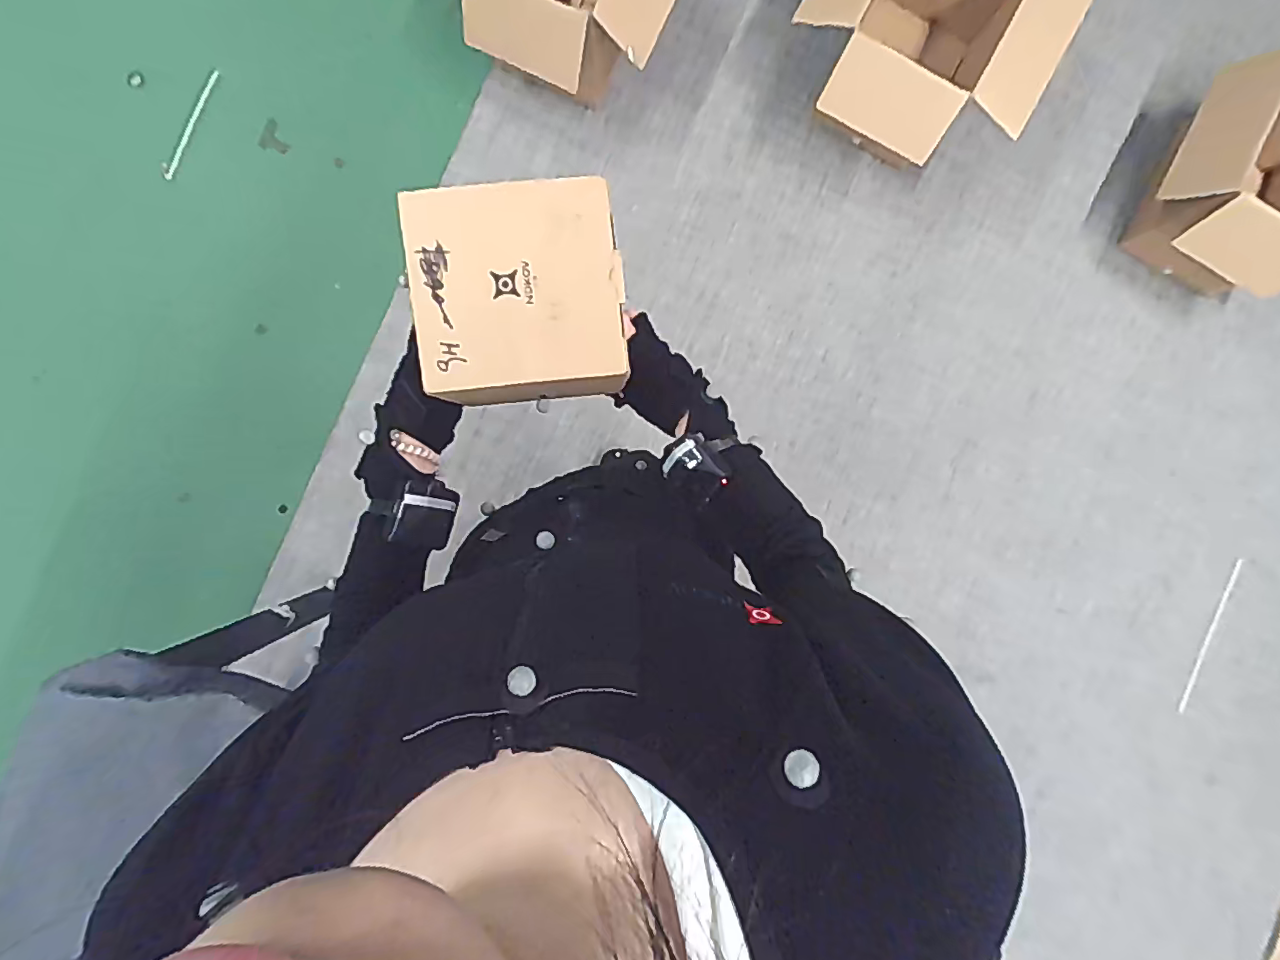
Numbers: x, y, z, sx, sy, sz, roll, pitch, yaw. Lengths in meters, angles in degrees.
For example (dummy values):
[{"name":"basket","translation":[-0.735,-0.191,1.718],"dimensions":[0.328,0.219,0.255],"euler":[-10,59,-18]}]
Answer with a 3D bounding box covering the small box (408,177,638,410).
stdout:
[{"name":"small box","translation":[-0.104,-0.169,0.538],"dimensions":[0.179,0.176,0.168],"euler":[-9,91,-4]}]
